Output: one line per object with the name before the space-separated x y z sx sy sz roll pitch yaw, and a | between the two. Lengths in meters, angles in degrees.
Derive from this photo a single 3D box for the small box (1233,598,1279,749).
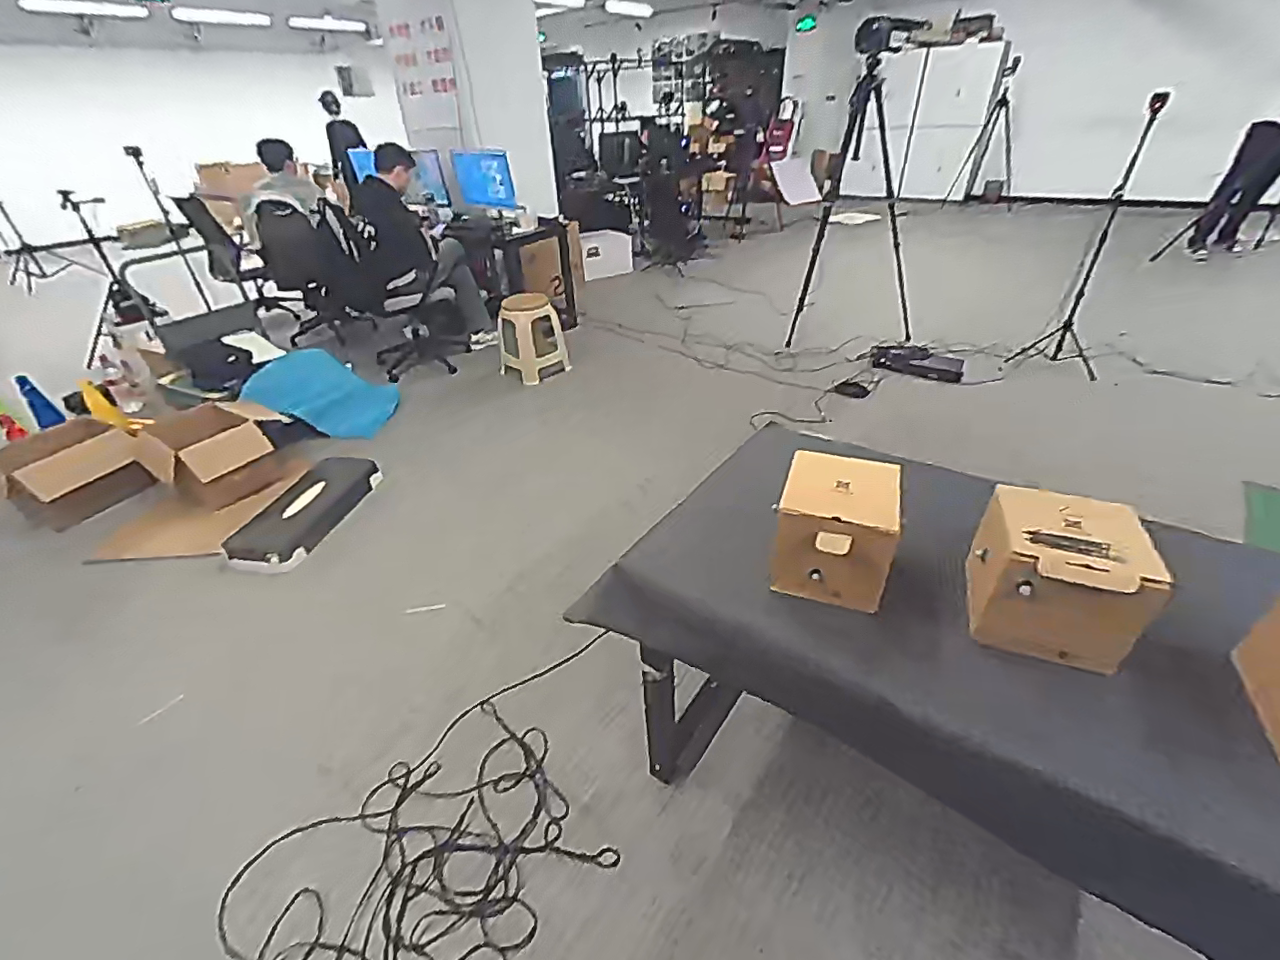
small box | 0.836 0.235 0.599 0.168 0.176 0.179 14 37 22

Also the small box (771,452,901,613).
small box | 0.313 0.080 0.872 0.168 0.176 0.179 11 37 19
